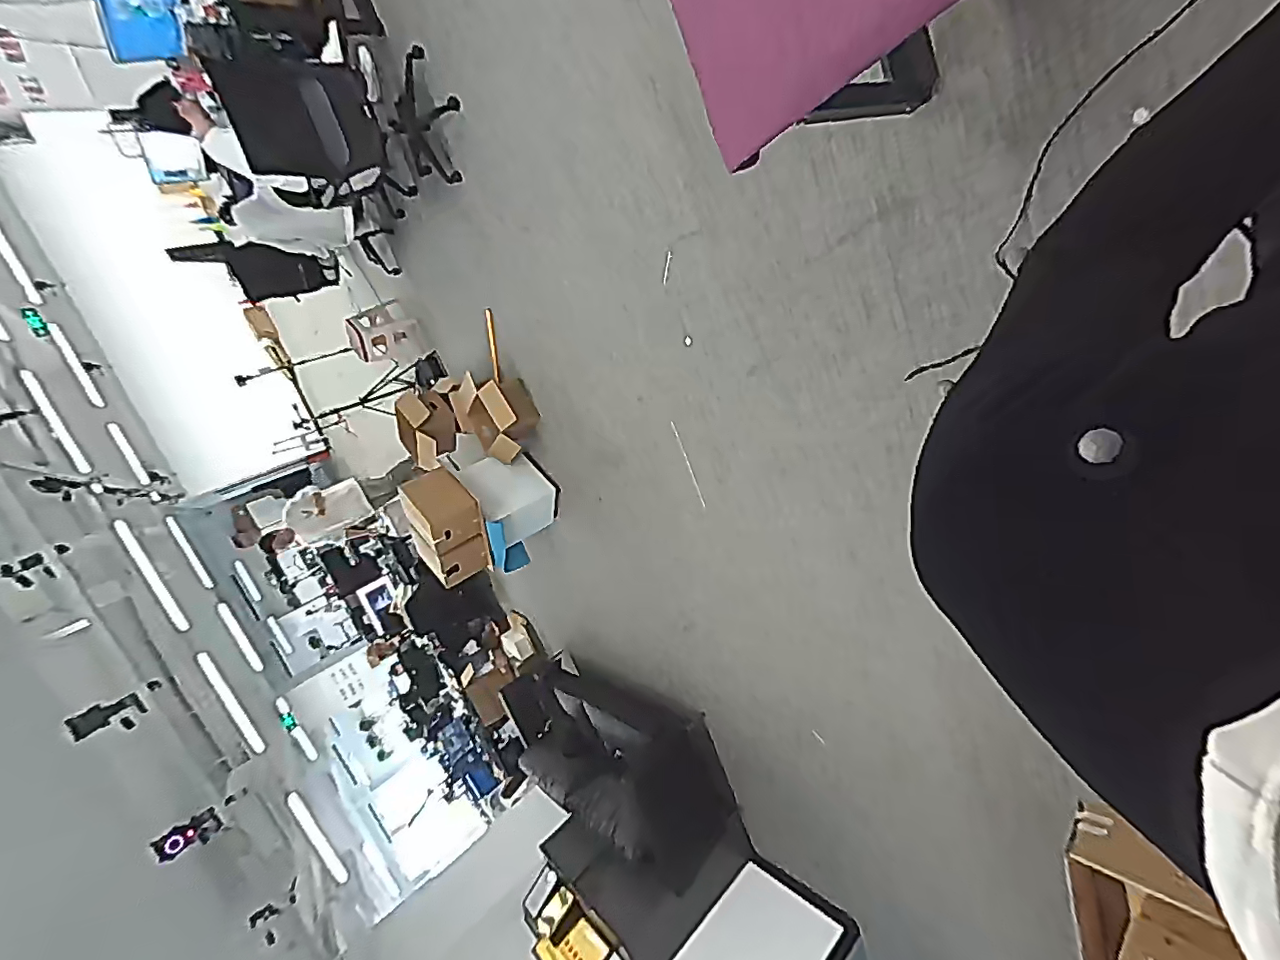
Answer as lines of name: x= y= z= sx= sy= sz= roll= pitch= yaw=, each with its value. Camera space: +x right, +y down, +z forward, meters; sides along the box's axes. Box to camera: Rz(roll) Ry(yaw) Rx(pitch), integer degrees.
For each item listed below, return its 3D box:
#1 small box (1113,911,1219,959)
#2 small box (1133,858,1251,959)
small box: x=1.095 y=1.058 z=1.115 sx=0.168 sy=0.176 sz=0.179 roll=6 pitch=120 yaw=52
small box: x=1.222 y=0.999 z=1.199 sx=0.168 sy=0.176 sz=0.179 roll=3 pitch=117 yaw=53
